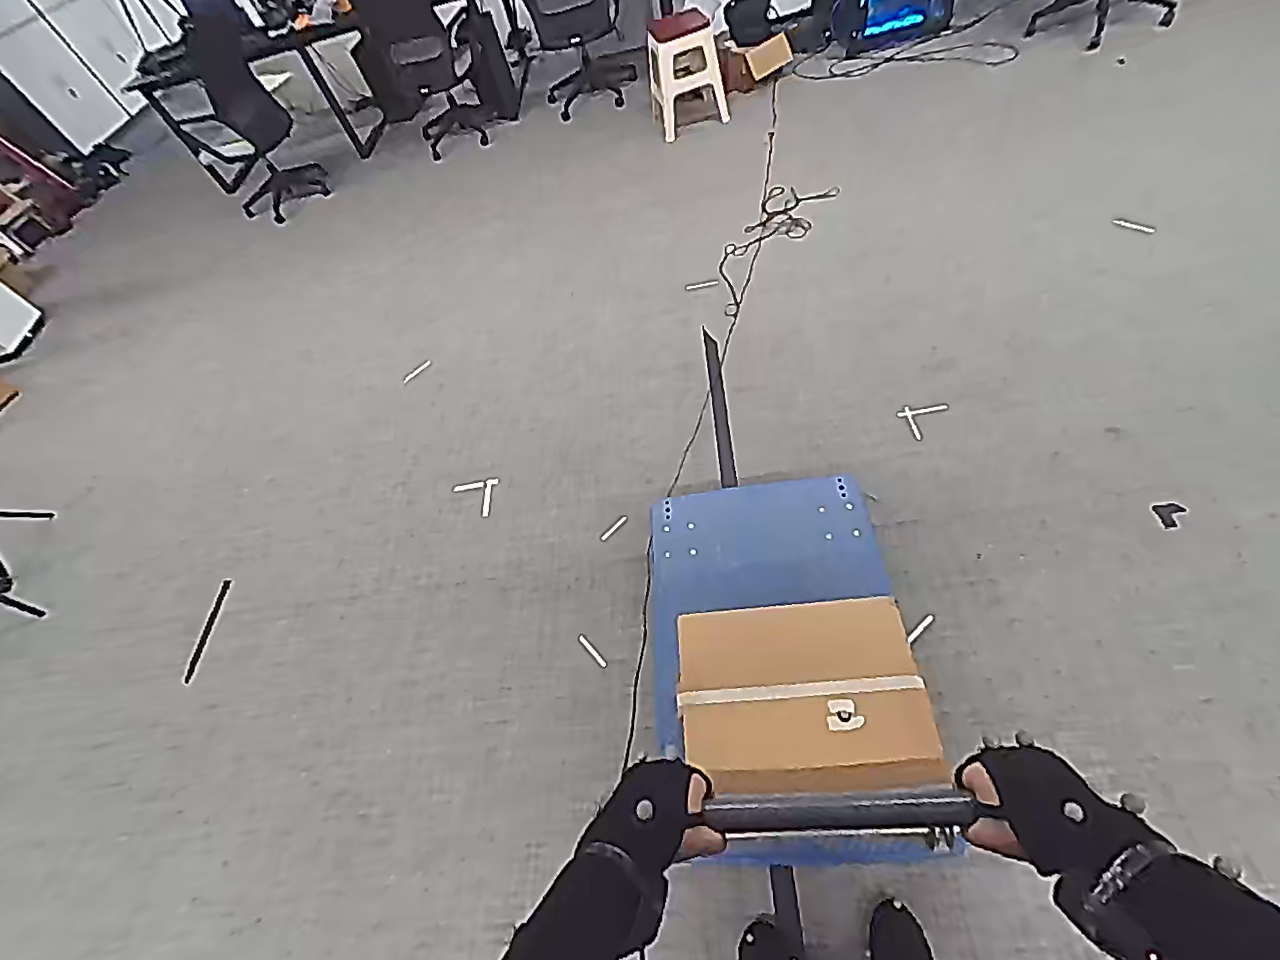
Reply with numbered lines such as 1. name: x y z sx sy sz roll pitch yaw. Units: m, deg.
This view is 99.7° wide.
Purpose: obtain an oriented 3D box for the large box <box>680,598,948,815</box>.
1. large box: 0.306 0.457 1.064 0.408 0.320 0.320 -8 54 8
